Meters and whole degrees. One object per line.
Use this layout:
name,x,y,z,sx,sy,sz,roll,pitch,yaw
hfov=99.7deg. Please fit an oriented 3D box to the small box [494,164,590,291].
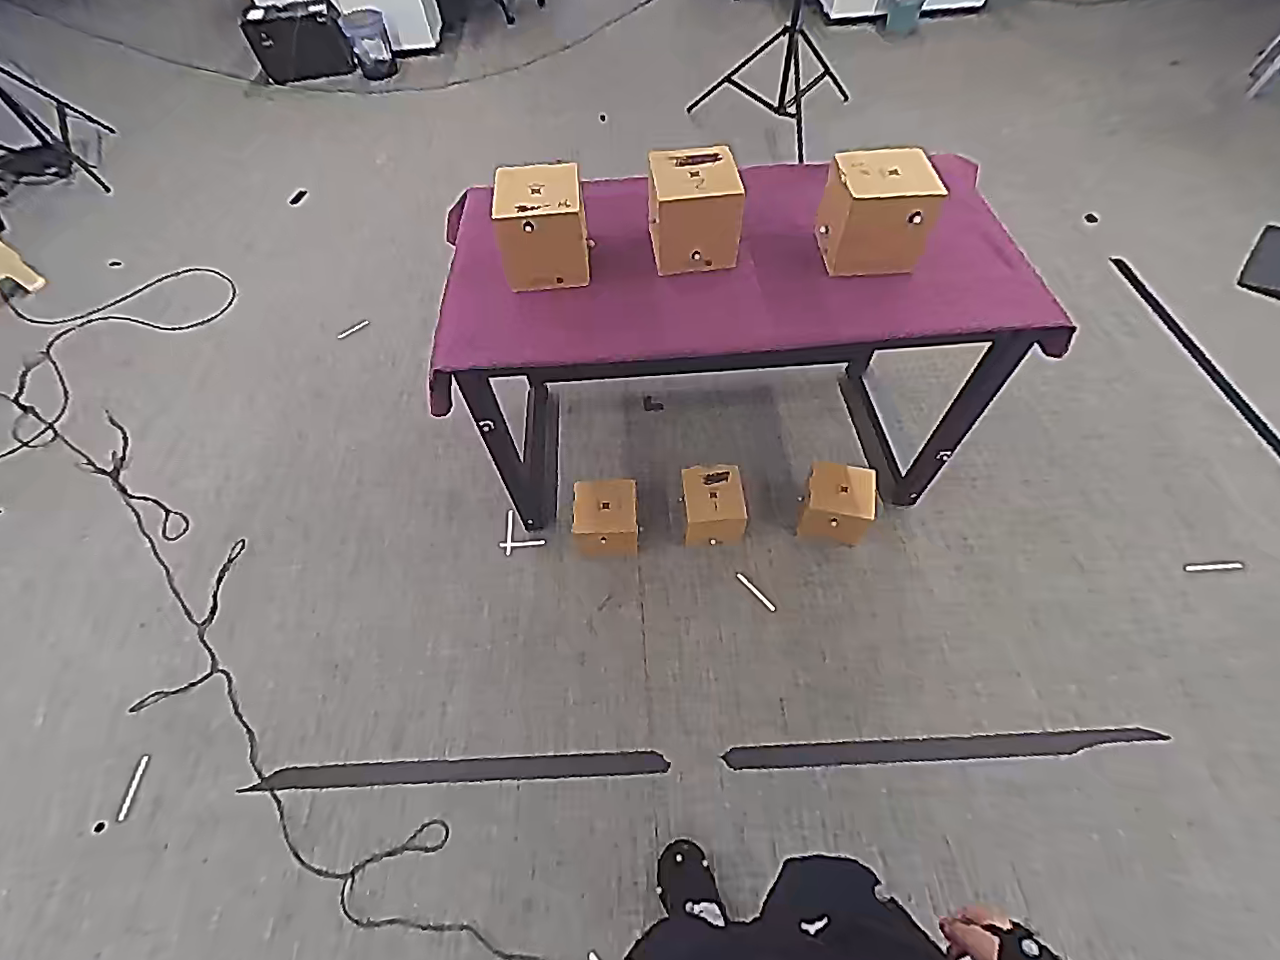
small box,-0.194,-0.515,1.110,0.168,0.176,0.179,-6,57,-1

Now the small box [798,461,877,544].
small box,0.567,0.069,1.563,0.179,0.176,0.168,10,59,11

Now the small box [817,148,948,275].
small box,0.474,-0.533,1.085,0.179,0.176,0.168,-3,56,2

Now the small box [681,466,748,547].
small box,0.210,0.079,1.574,0.168,0.176,0.179,-5,58,0
